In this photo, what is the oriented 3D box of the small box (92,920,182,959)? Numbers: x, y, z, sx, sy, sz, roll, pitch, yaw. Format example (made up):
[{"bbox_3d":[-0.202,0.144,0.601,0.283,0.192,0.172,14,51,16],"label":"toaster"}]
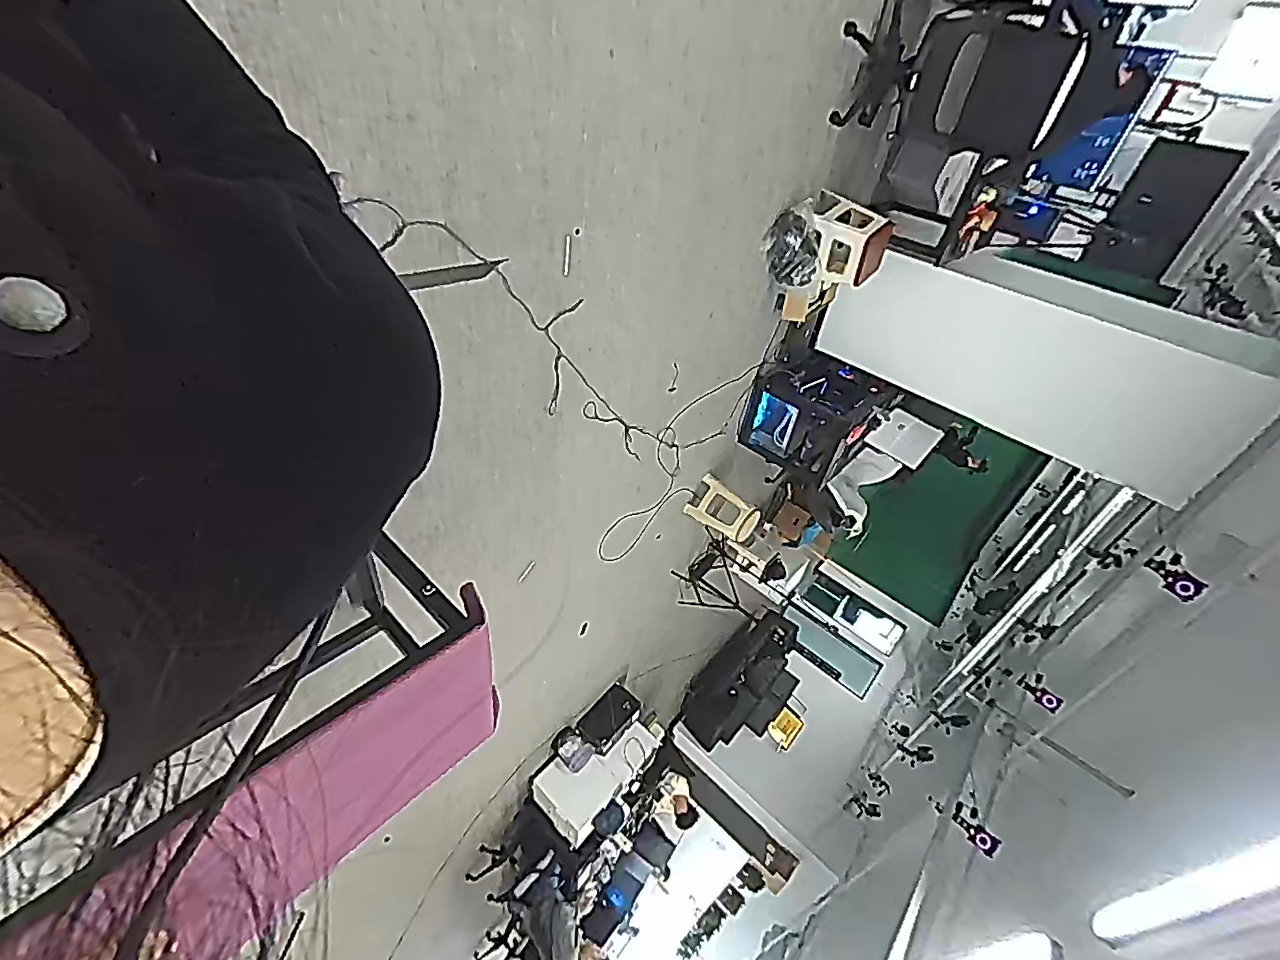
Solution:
[{"bbox_3d":[-0.956,0.973,0.990,0.179,0.176,0.168,-31,145,-42],"label":"small box"}]
